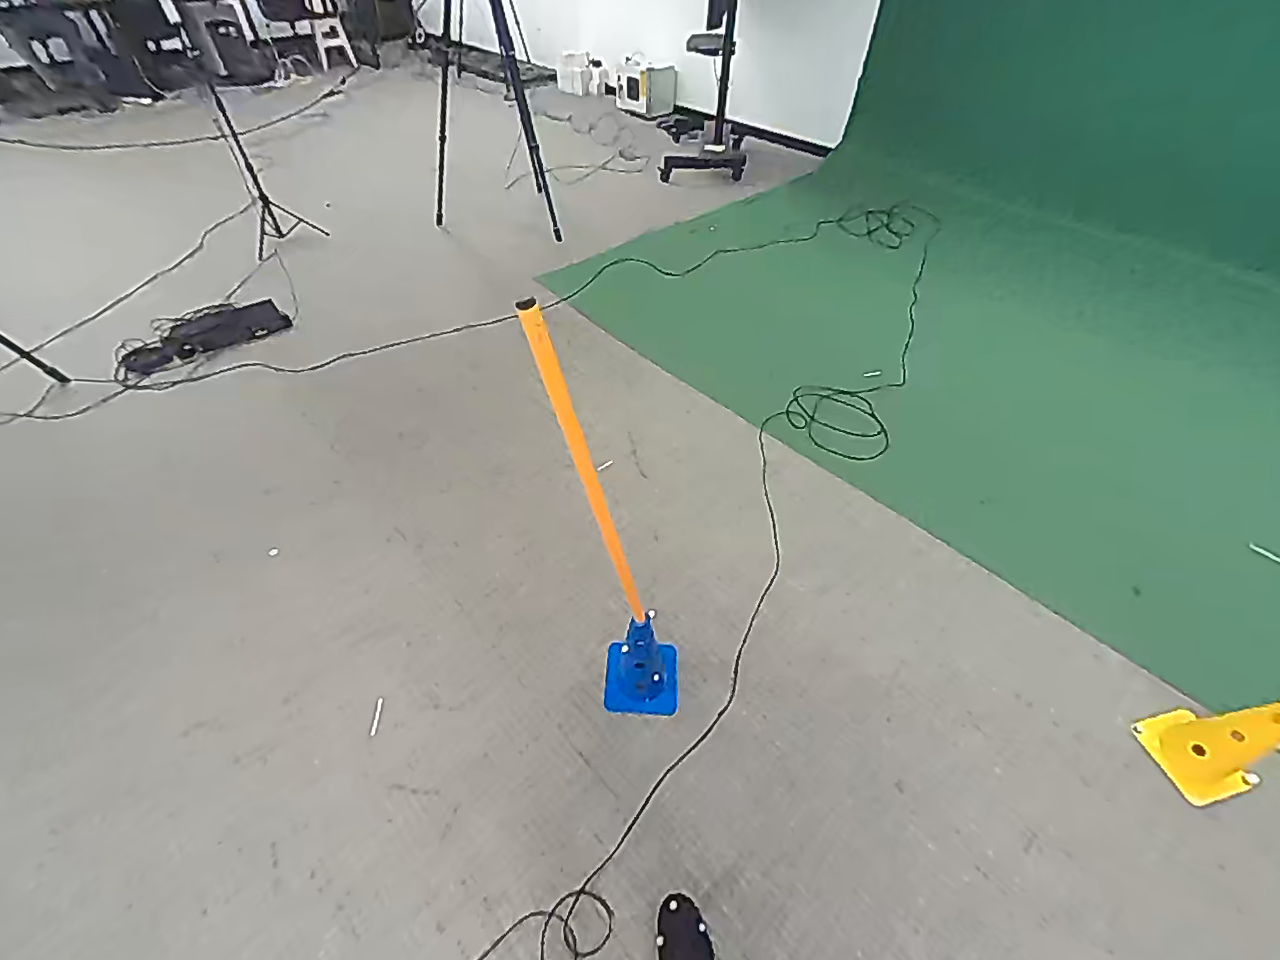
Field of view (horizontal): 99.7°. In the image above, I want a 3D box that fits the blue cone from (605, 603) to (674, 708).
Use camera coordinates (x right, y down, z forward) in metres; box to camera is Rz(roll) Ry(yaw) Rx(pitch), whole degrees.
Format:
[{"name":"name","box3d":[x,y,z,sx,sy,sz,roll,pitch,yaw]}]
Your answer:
[{"name":"blue cone","box3d":[-0.004,0.429,1.376,0.193,0.380,0.192,0,49,2]}]
